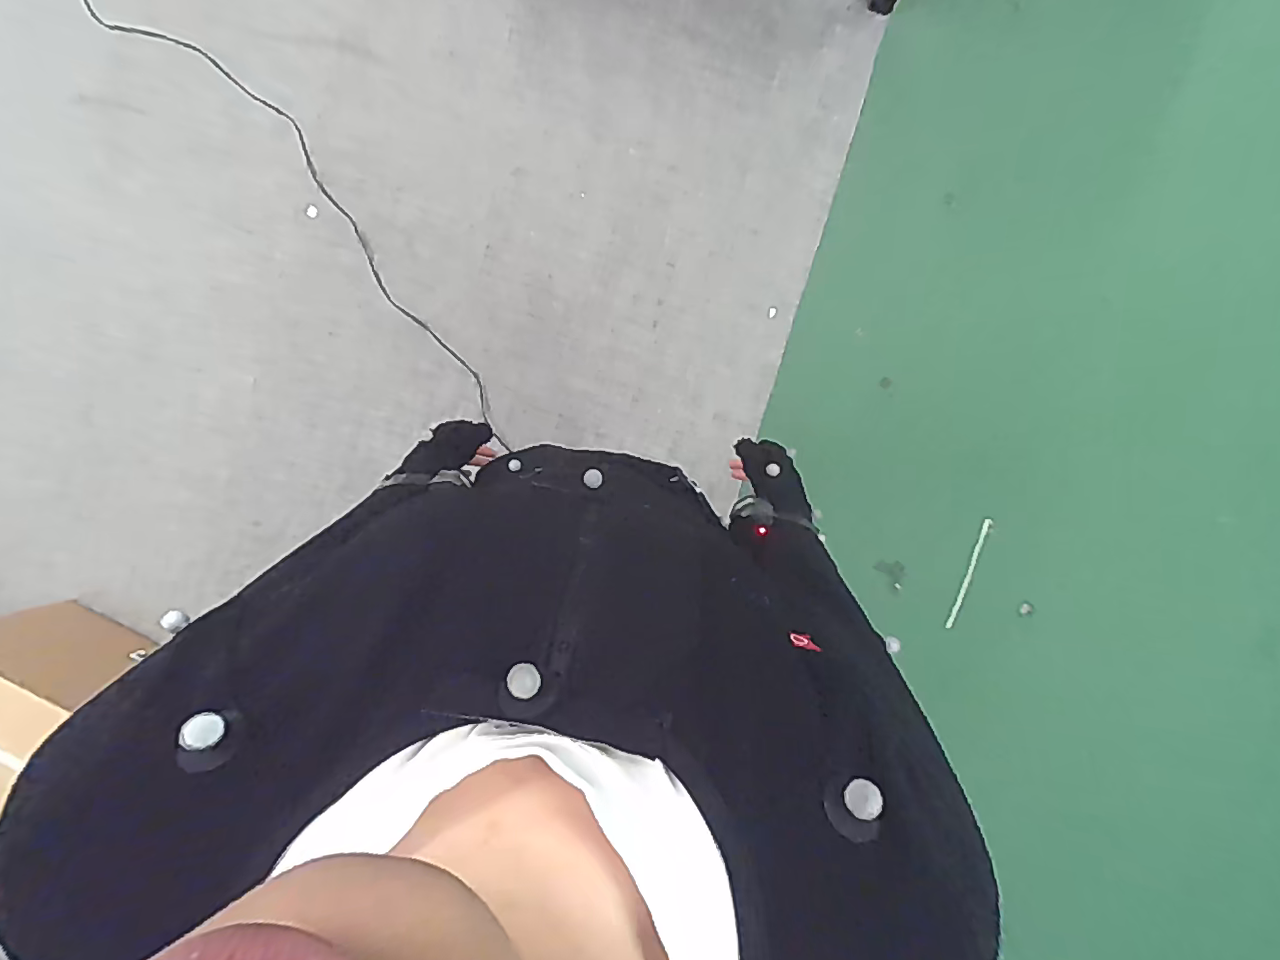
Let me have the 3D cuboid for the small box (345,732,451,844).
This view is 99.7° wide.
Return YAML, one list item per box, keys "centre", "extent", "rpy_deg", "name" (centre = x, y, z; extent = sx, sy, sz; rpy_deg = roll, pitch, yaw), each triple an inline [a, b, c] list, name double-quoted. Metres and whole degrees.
- centre: [-0.612, 0.781, 1.392]
  extent: [0.179, 0.176, 0.168]
  rpy_deg: [17, 93, 2]
  name: "small box"
